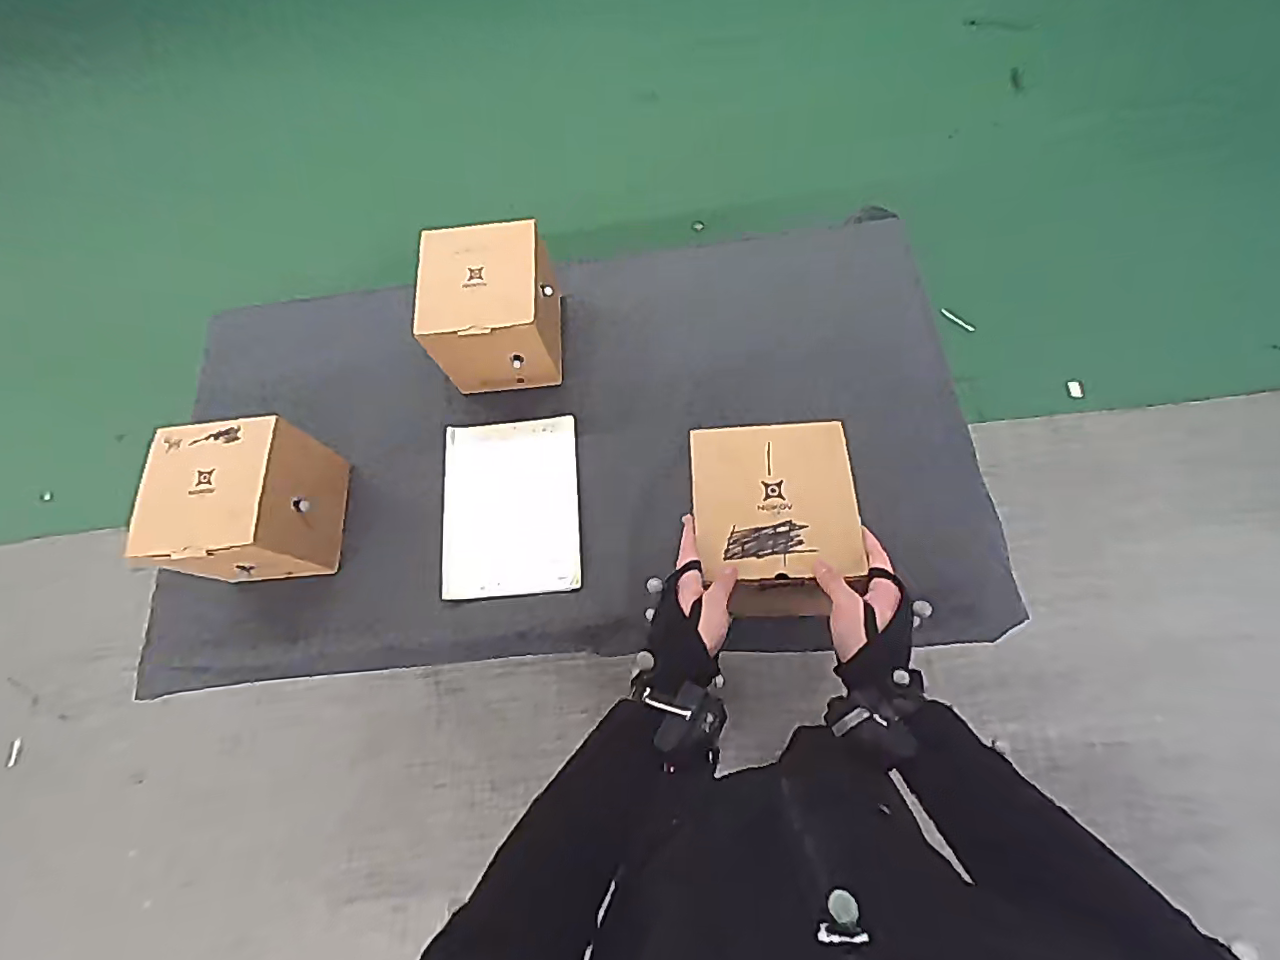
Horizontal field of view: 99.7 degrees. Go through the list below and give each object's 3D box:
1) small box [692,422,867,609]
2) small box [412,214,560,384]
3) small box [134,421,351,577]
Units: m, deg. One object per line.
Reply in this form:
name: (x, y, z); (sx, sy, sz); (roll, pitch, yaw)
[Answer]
small box: (0.148, 0.052, 0.631); (0.168, 0.176, 0.179); (-3, 65, 6)
small box: (-0.216, -0.254, 0.799); (0.168, 0.176, 0.179); (-5, 71, 3)
small box: (-0.528, 0.037, 0.748); (0.168, 0.176, 0.179); (-6, 71, 3)
